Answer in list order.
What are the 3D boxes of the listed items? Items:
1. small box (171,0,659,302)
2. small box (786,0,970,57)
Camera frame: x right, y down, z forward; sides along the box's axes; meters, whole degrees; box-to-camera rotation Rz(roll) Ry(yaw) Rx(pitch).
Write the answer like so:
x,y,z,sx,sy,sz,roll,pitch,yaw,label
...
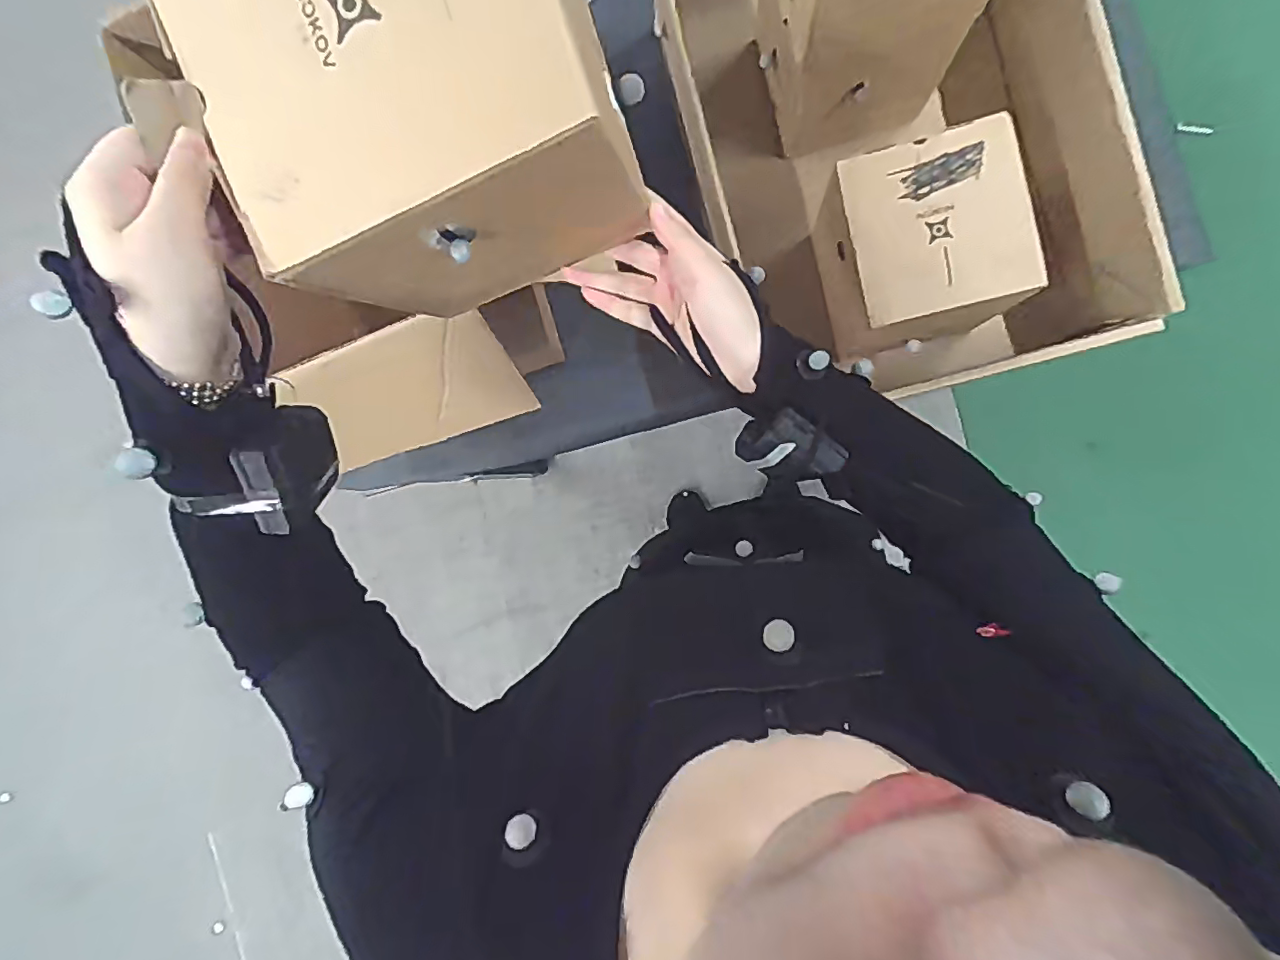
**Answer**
x,y,z,sx,sy,sz,roll,pitch,yaw,label
-0.103,-0.214,0.306,0.179,0.176,0.168,-17,99,13,small box
0.212,-0.509,0.453,0.179,0.176,0.168,-12,91,8,small box
